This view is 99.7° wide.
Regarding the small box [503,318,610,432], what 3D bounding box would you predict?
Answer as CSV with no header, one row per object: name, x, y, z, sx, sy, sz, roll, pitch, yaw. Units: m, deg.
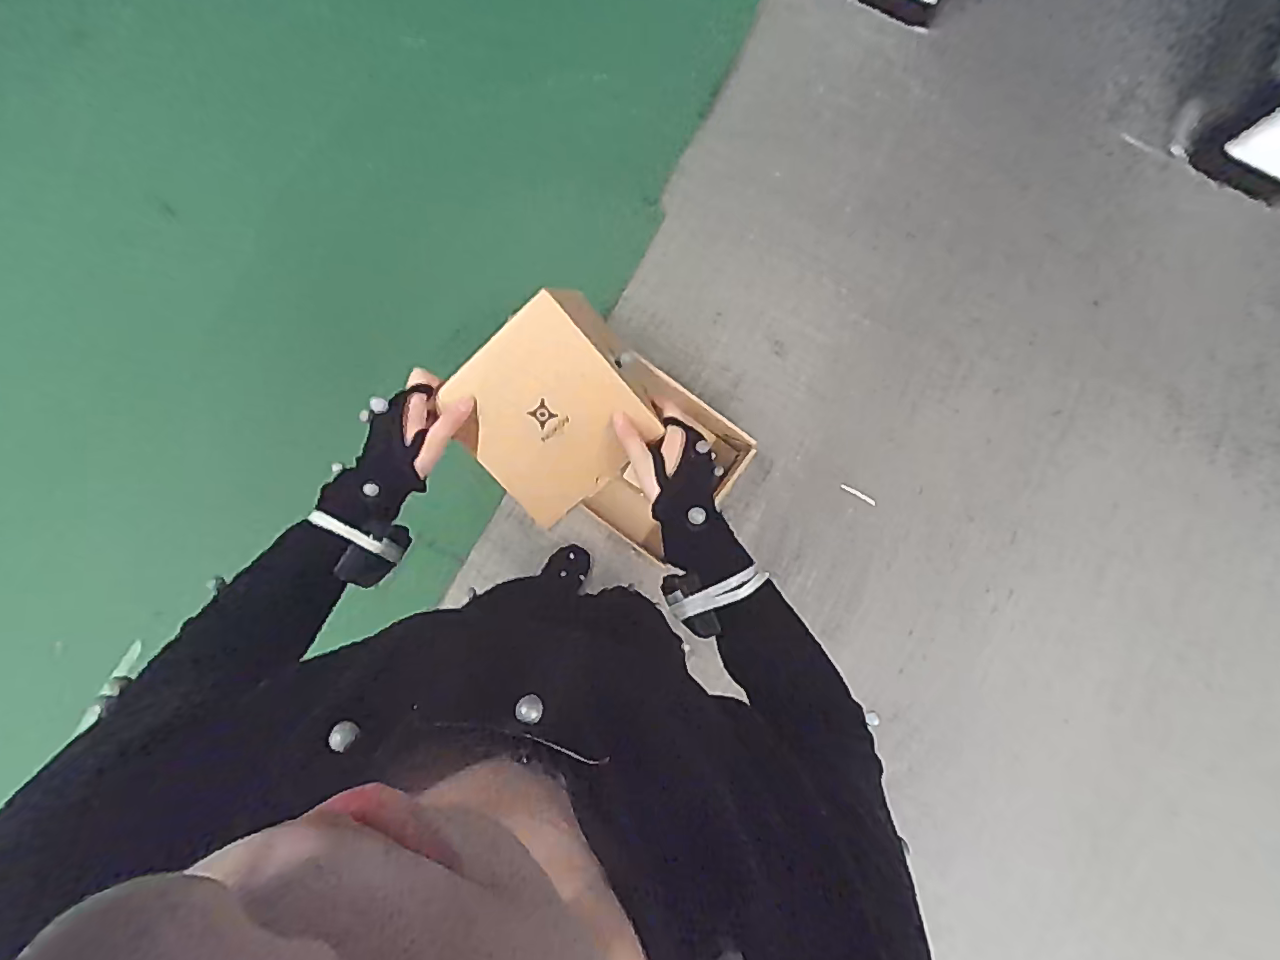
small box,-0.186,-0.233,1.249,0.168,0.176,0.179,40,86,1
